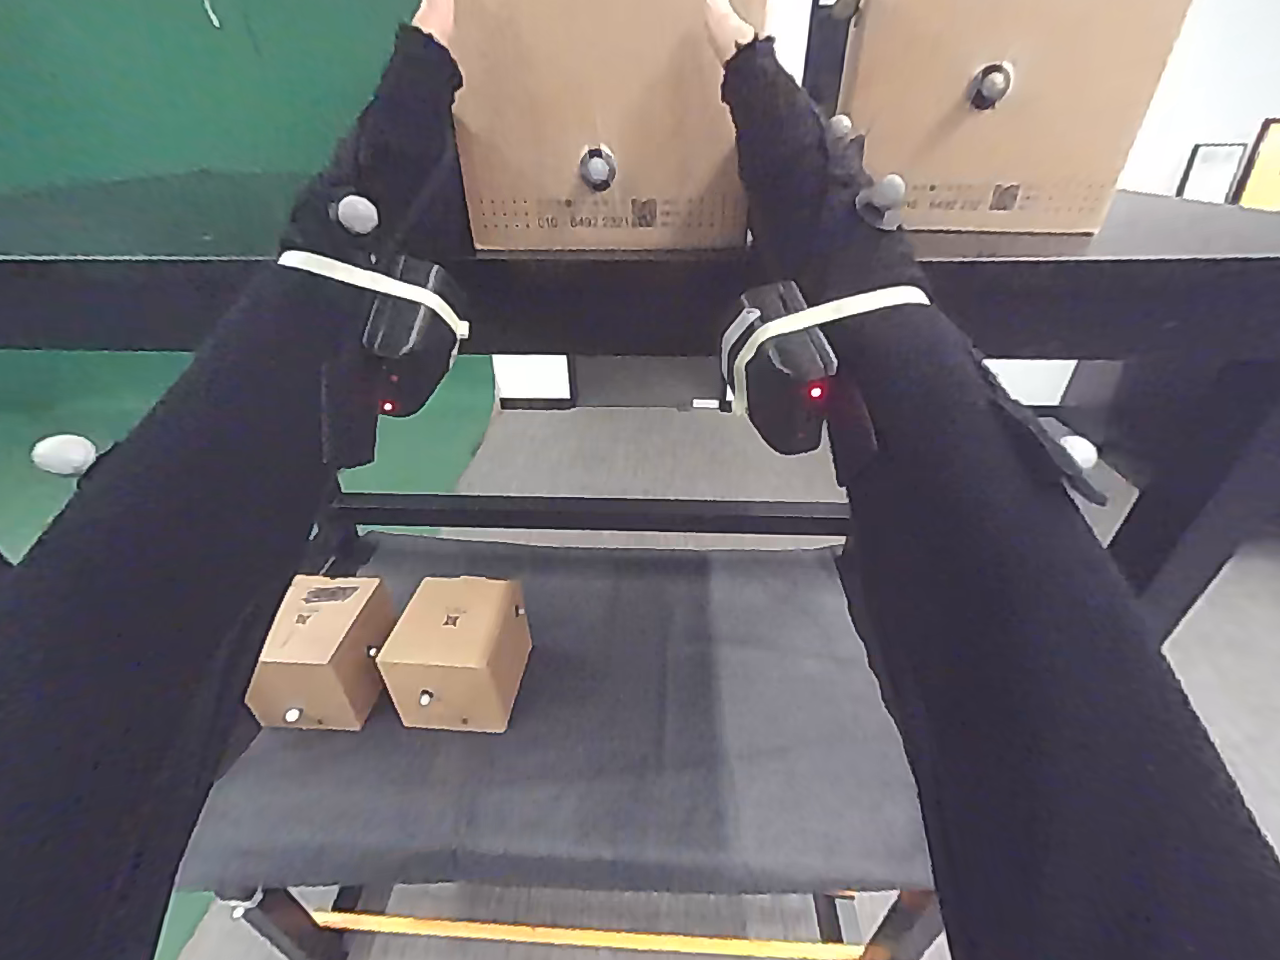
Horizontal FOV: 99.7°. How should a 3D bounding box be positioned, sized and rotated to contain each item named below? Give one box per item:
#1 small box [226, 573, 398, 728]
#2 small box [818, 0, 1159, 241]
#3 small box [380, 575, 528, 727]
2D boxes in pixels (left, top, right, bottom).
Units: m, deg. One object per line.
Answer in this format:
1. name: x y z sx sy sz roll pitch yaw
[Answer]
1. small box: -0.516 0.276 0.890 0.168 0.176 0.179 2 34 3
2. small box: 0.231 -0.280 0.399 0.168 0.176 0.179 8 34 12
3. small box: -0.289 0.279 0.888 0.168 0.176 0.179 2 33 4
